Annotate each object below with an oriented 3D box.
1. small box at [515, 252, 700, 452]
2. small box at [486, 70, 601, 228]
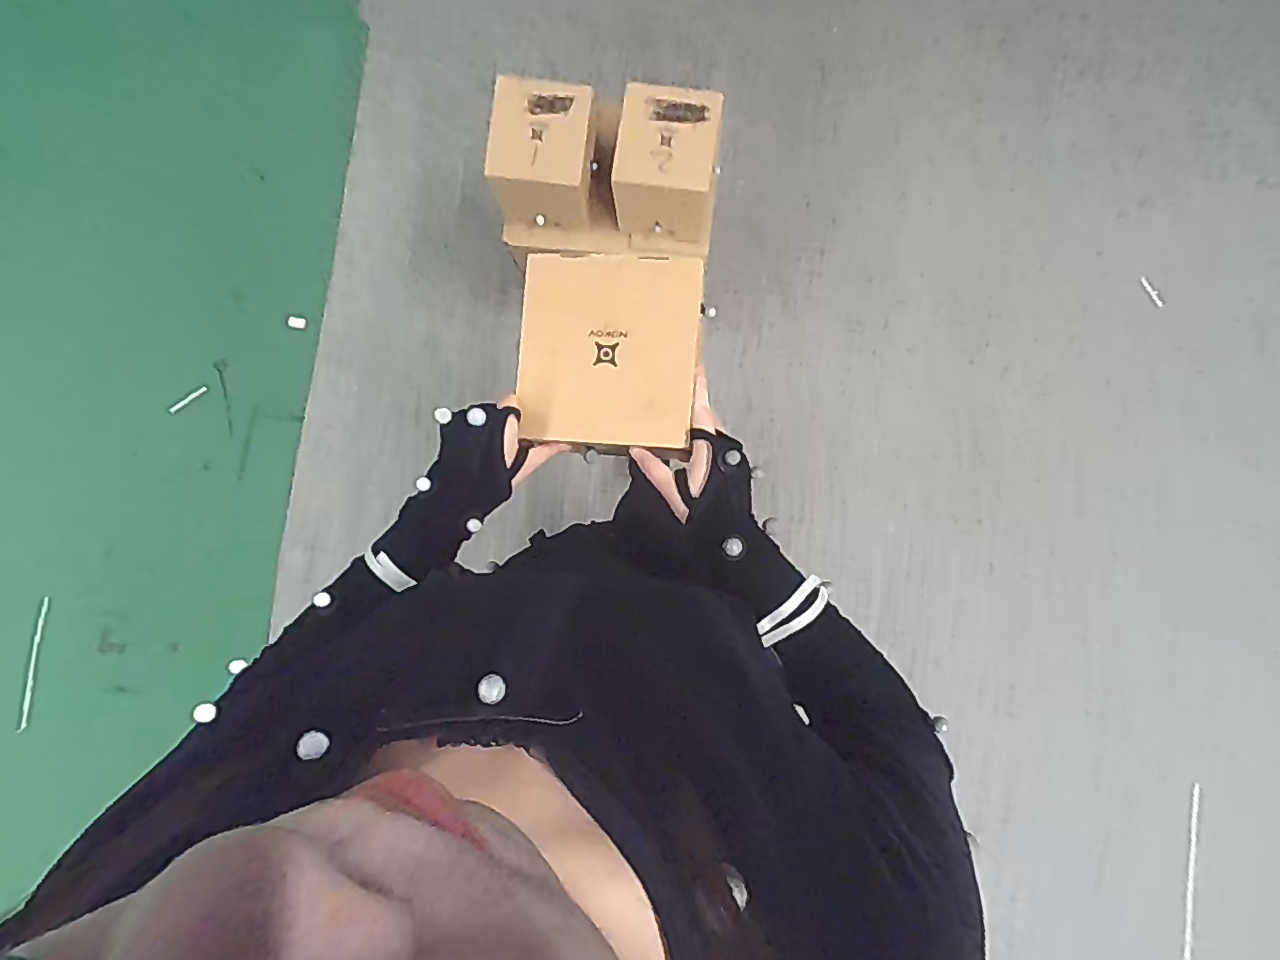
[{"bbox_3d":[-0.024,-0.125,0.586,0.168,0.176,0.179,4,89,7],"label":"small box"},{"bbox_3d":[-0.167,-0.594,0.991,0.168,0.176,0.179,8,91,1],"label":"small box"}]
